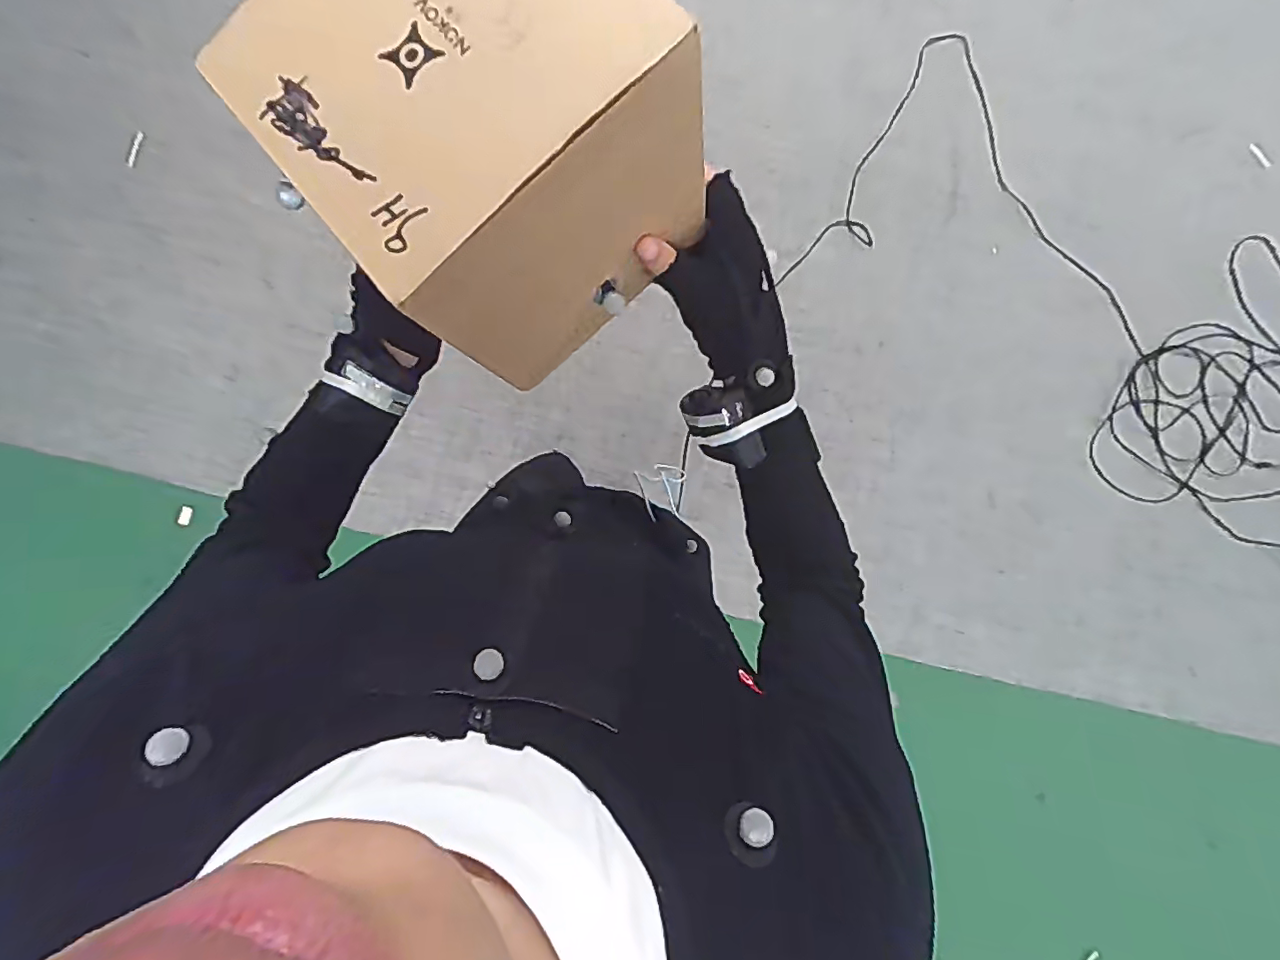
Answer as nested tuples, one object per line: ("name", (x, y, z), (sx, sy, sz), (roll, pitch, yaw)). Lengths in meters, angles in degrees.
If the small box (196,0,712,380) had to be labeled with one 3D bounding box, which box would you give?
("small box", (-0.079, -0.187, 0.313), (0.179, 0.176, 0.168), (-41, 83, 3))
